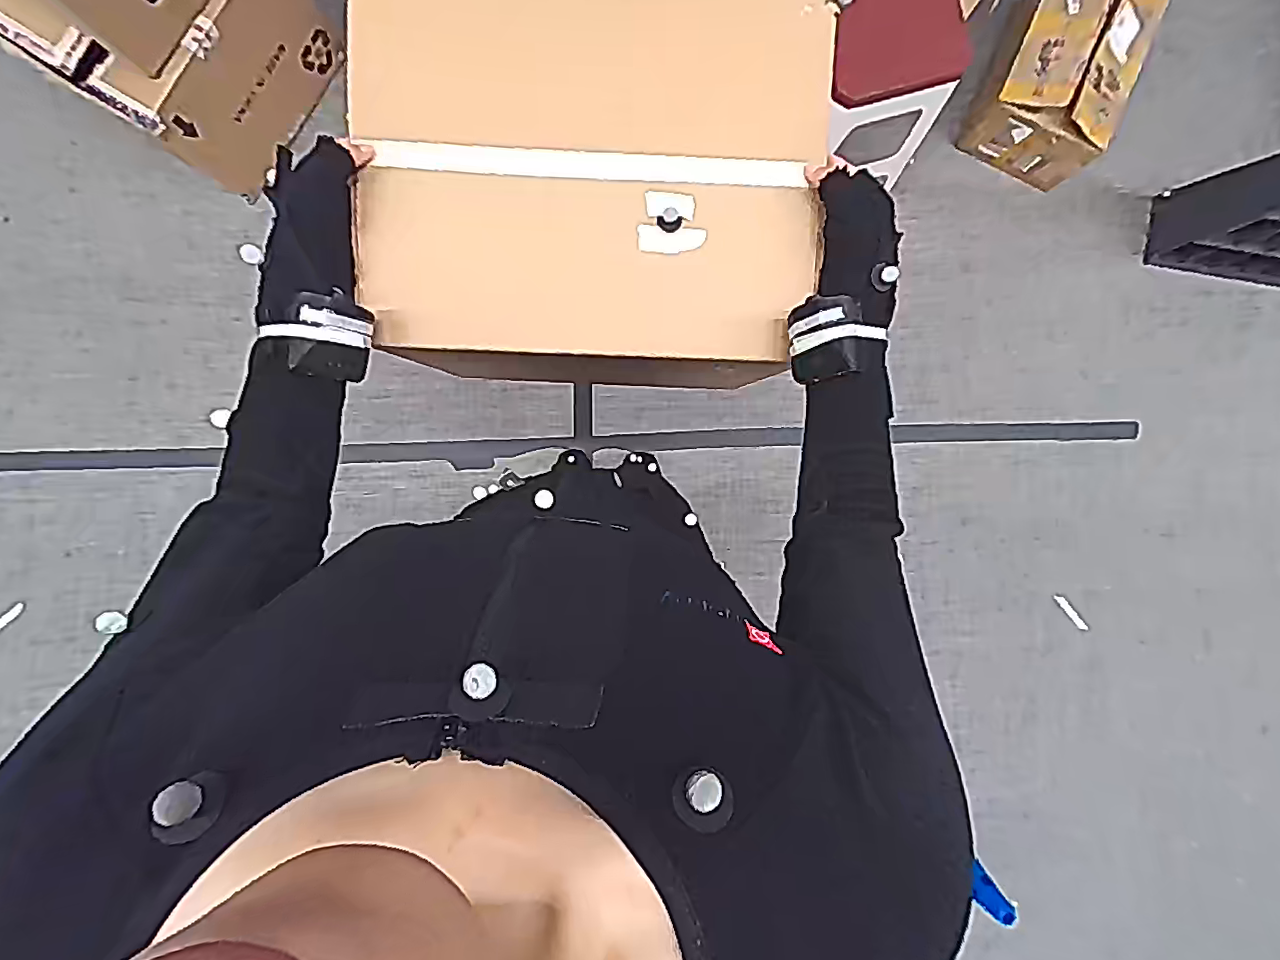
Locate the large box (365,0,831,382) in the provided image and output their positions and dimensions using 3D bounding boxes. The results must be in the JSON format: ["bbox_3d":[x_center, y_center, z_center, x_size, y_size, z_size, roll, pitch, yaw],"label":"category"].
[{"bbox_3d":[-0.044,-0.284,0.617,0.408,0.320,0.320,1,95,-3],"label":"large box"}]
